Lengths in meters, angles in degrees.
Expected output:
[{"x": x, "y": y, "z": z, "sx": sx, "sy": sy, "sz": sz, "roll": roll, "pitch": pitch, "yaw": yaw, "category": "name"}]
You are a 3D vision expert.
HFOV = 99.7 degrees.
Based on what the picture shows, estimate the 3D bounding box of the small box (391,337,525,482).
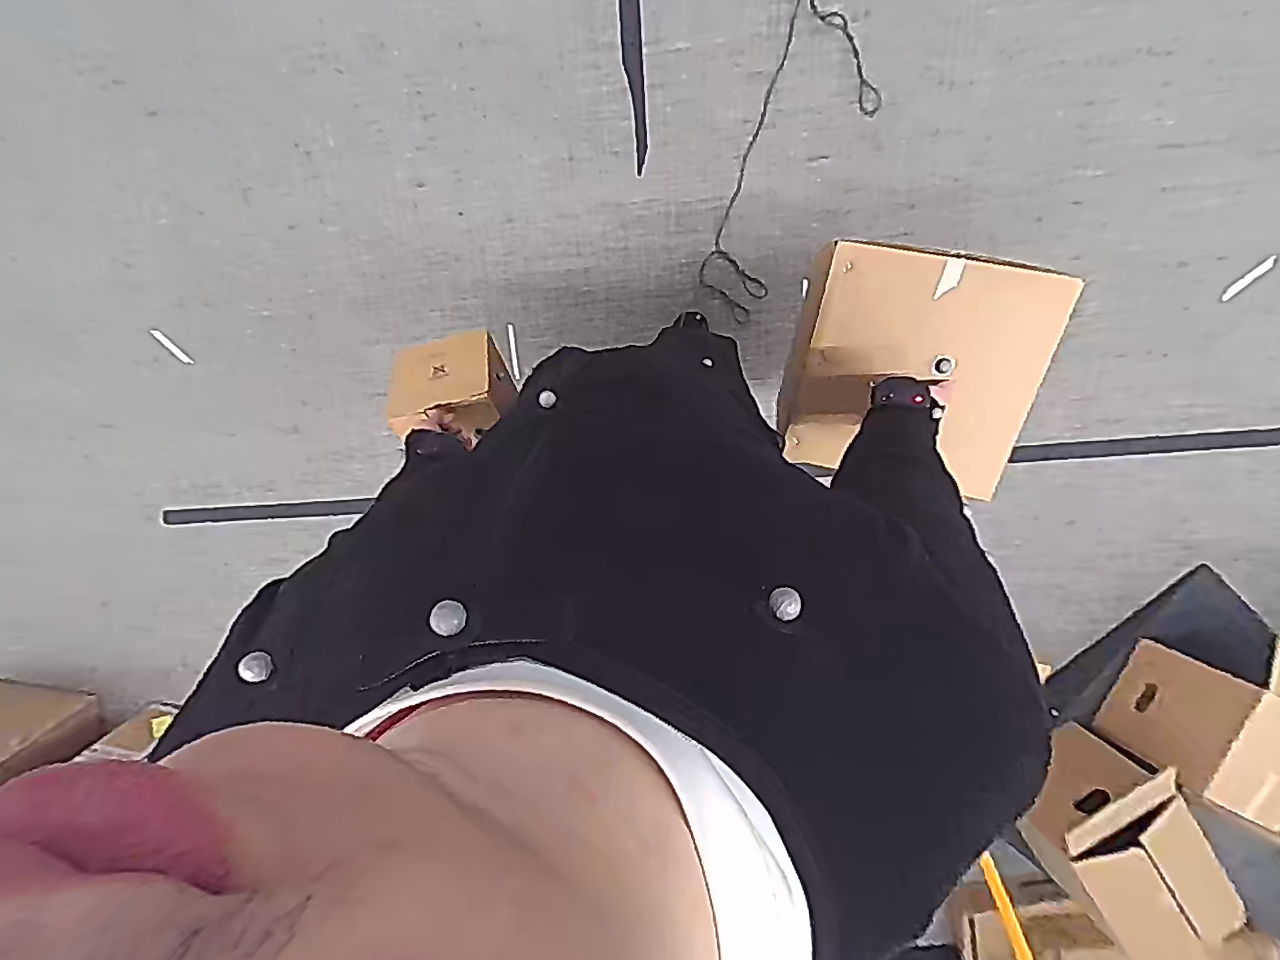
[{"x": -0.308, "y": -0.115, "z": 0.947, "sx": 0.168, "sy": 0.179, "sz": 0.176, "roll": -15, "pitch": 139, "yaw": 1, "category": "small box"}]
